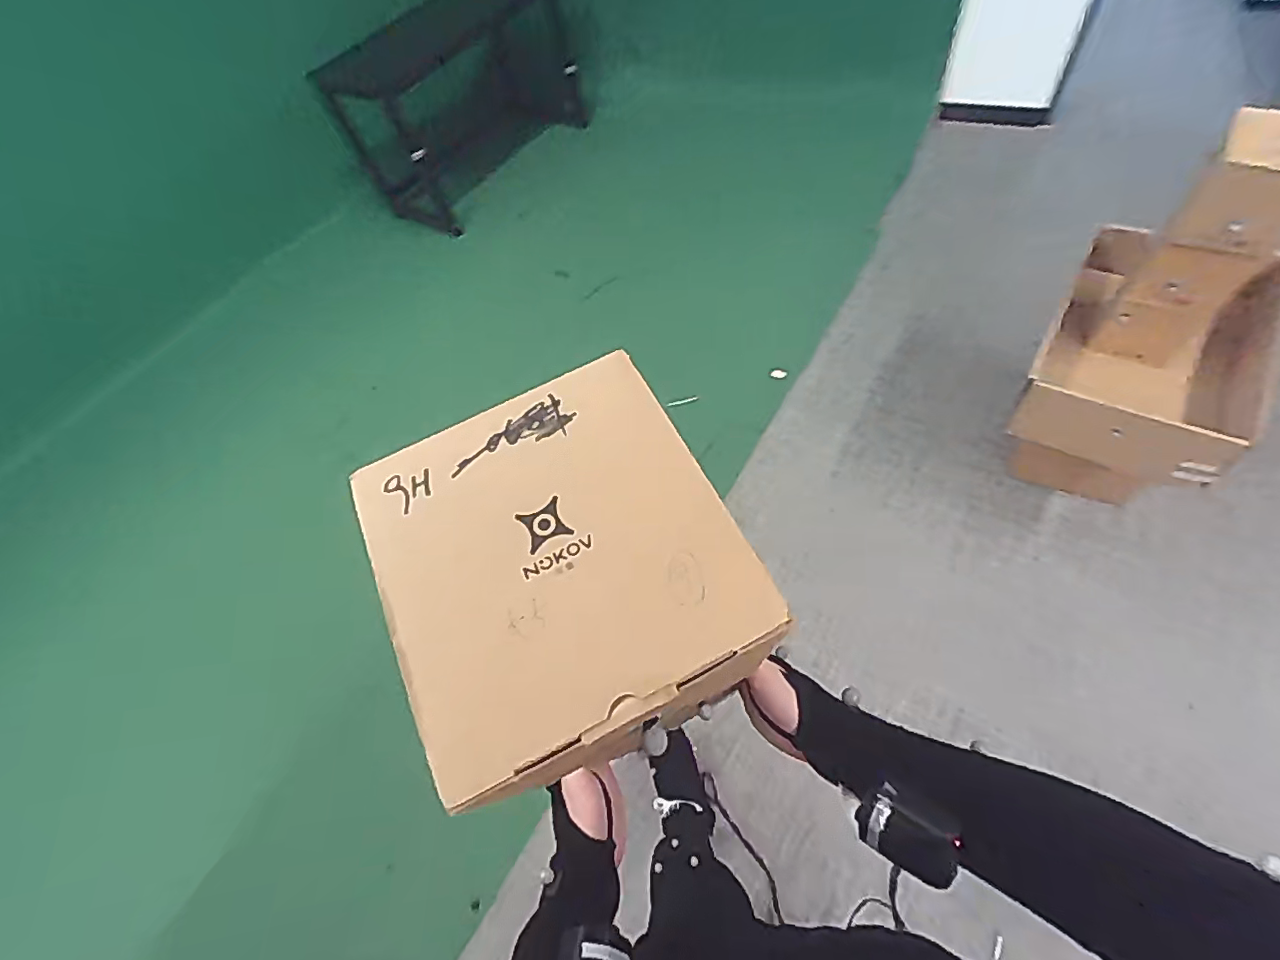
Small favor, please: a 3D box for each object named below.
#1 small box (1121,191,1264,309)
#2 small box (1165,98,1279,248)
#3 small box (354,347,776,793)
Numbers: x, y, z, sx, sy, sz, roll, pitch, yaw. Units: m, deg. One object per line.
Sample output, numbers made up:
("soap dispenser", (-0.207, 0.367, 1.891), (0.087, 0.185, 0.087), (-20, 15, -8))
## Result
("small box", (1.188, -0.504, 1.160), (0.168, 0.176, 0.179), (26, 70, 25))
("small box", (1.145, -0.574, 1.016), (0.168, 0.176, 0.179), (24, 70, 25))
("small box", (-0.038, 0.059, 0.337), (0.168, 0.176, 0.179), (-26, 65, -6))
